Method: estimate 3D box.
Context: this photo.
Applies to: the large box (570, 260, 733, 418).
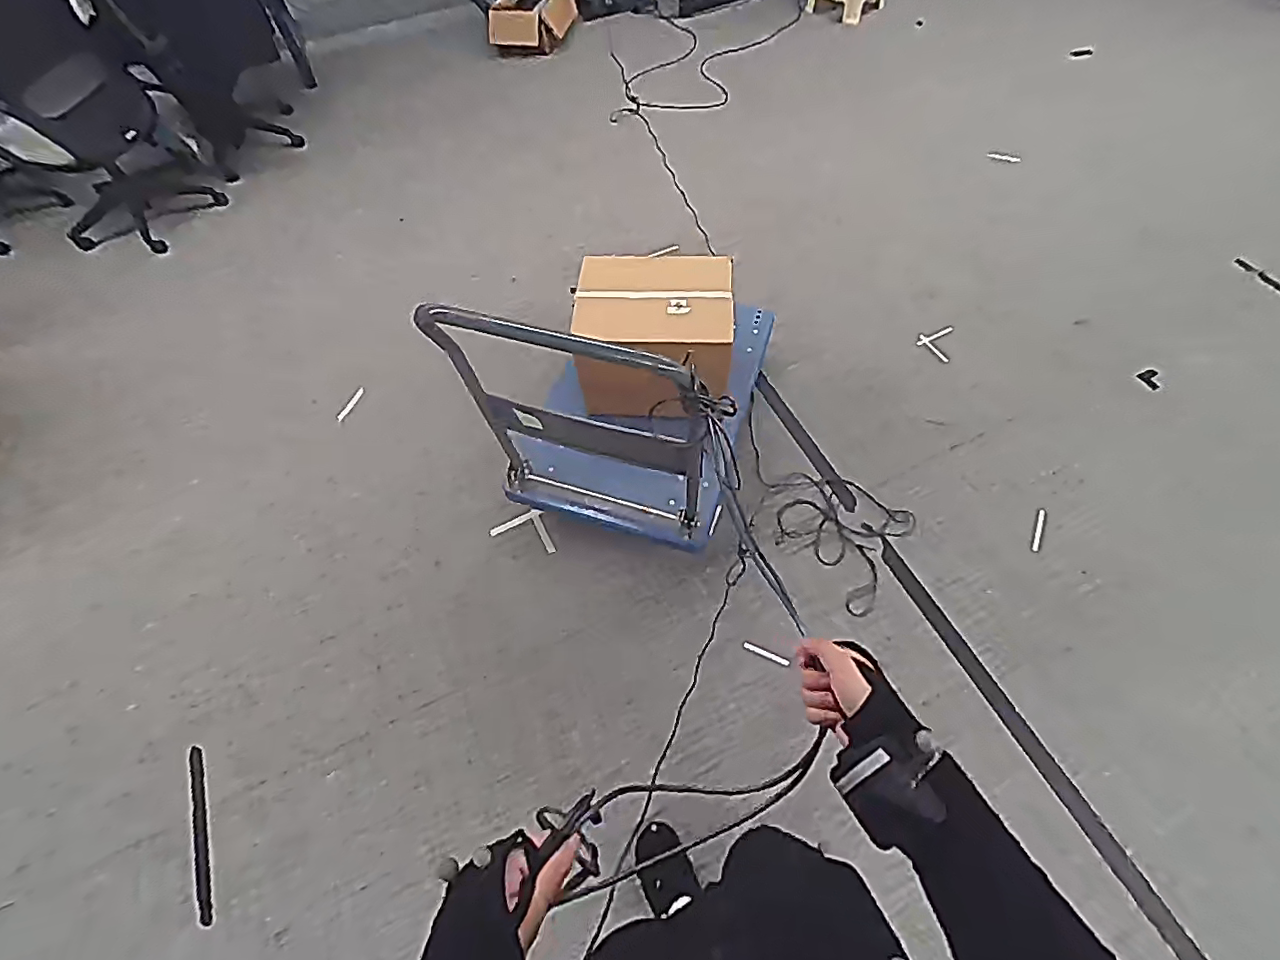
[{"bbox_3d":[0.038,-0.384,1.502,0.408,0.320,0.320,2,61,4],"label":"large box"}]
